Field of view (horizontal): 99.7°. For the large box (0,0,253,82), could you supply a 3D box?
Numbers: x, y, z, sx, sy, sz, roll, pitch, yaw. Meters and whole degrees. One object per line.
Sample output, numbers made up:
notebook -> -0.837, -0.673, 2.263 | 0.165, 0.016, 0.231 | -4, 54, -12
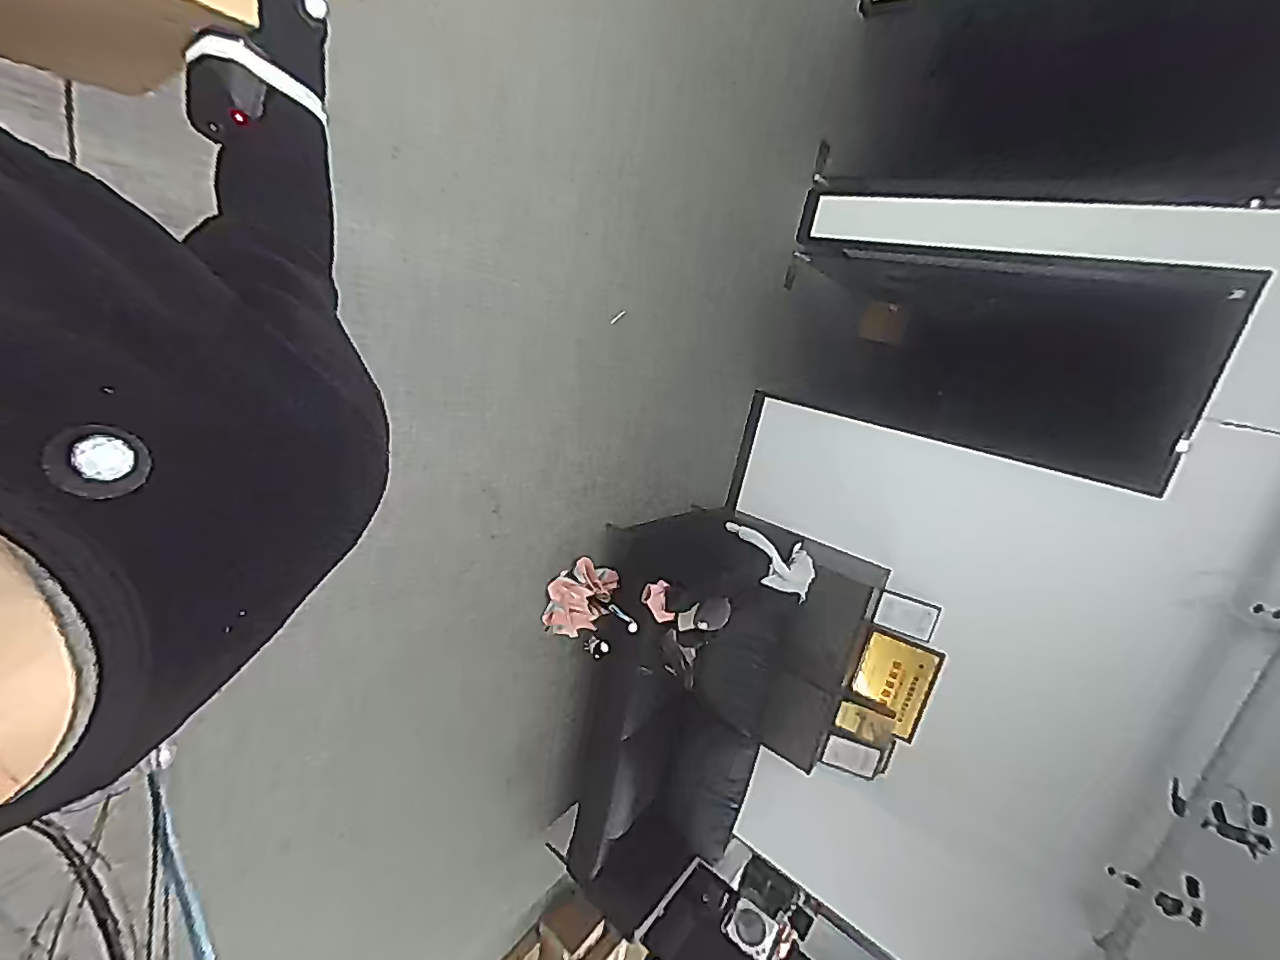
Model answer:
large box -> -0.519, -0.490, 0.299 | 0.408, 0.320, 0.320 | -17, 116, -51
